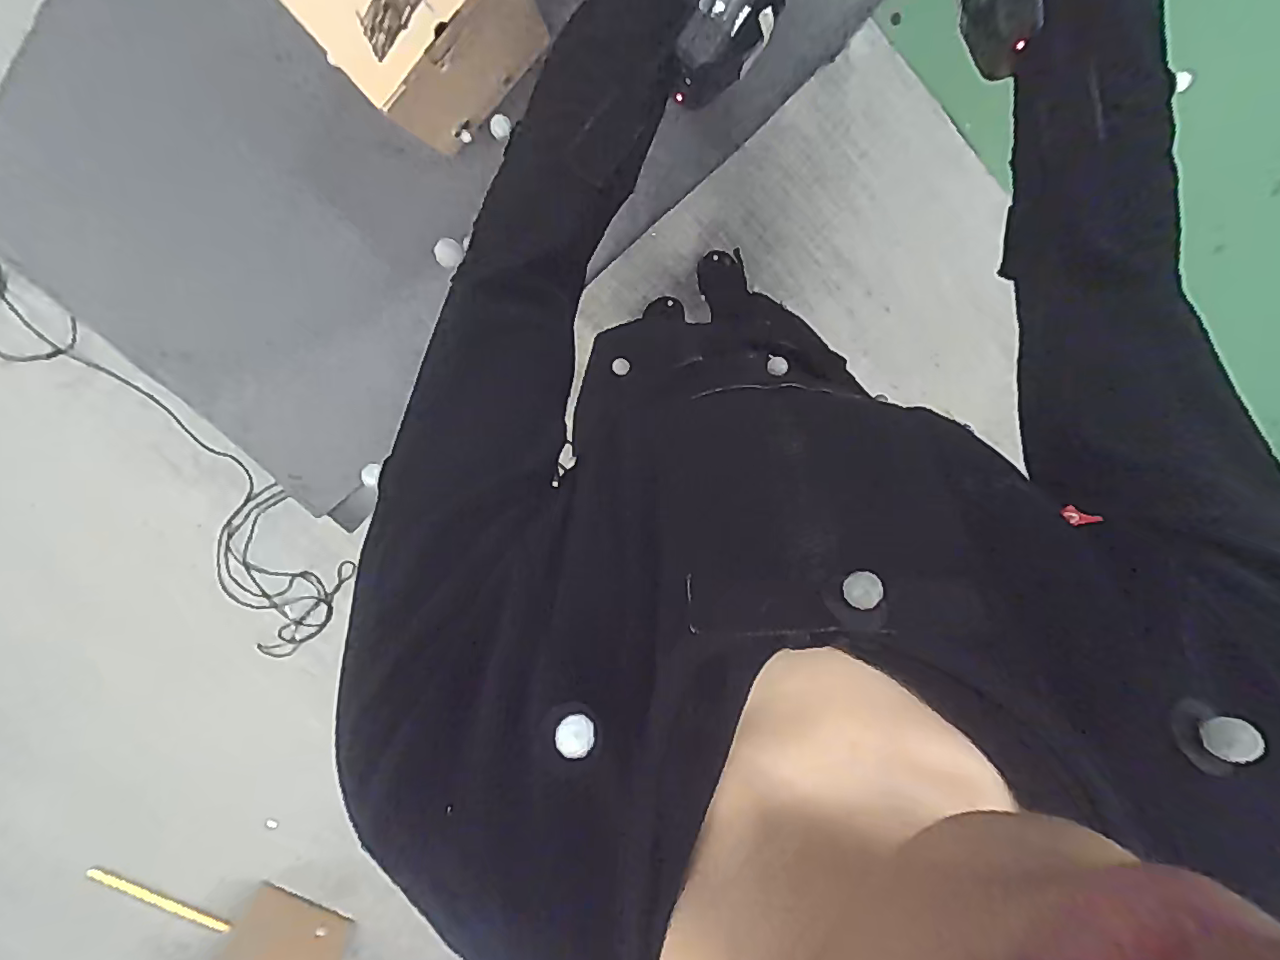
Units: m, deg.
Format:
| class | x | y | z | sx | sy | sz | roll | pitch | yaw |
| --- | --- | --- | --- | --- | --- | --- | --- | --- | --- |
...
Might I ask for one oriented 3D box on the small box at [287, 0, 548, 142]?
| class | x | y | z | sx | sy | sz | roll | pitch | yaw |
| --- | --- | --- | --- | --- | --- | --- | --- | --- | --- |
| small box | -0.211 | -0.455 | 0.507 | 0.168 | 0.176 | 0.179 | -39 | 102 | 14 |
